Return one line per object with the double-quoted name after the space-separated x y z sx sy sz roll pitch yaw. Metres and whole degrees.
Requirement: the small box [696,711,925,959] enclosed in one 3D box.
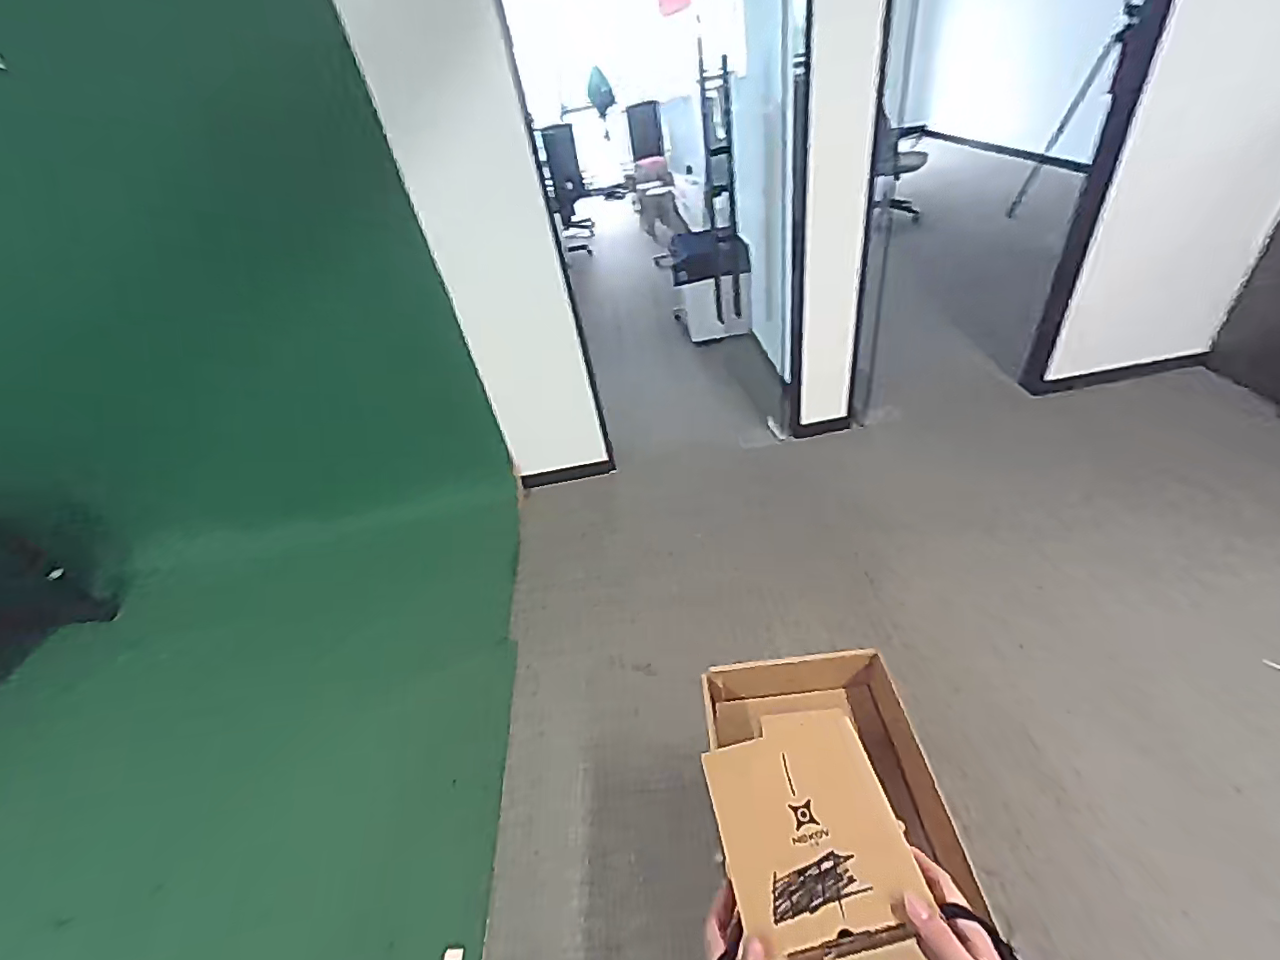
0.168 0.380 0.573 0.168 0.176 0.179 -15 43 0 "small box"
